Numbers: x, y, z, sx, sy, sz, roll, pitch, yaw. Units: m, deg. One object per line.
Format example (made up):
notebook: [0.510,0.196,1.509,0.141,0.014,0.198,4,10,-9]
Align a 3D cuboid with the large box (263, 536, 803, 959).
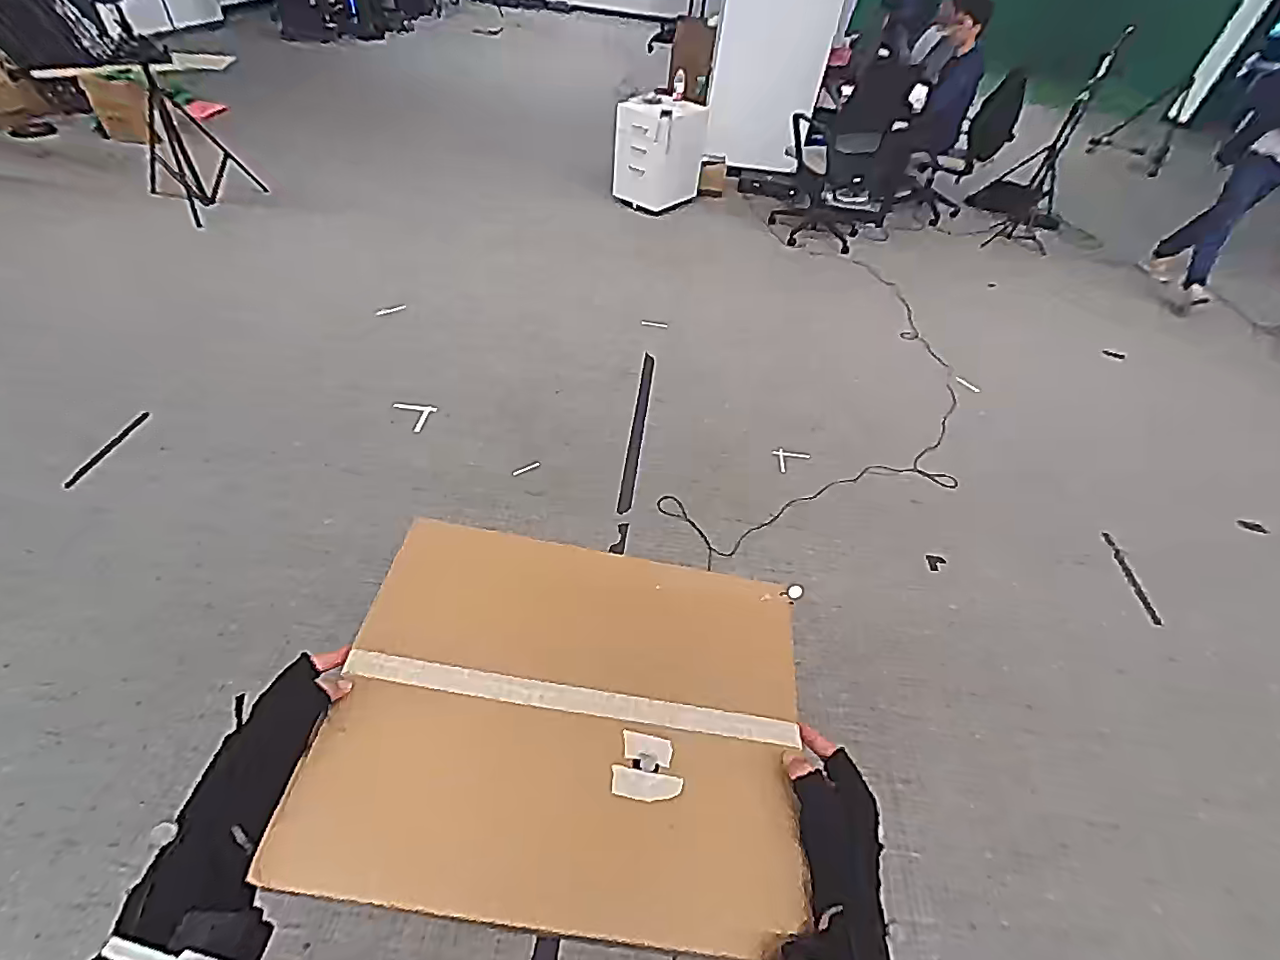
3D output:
large box: [-0.083,0.302,0.597,0.408,0.320,0.320,11,50,-3]
